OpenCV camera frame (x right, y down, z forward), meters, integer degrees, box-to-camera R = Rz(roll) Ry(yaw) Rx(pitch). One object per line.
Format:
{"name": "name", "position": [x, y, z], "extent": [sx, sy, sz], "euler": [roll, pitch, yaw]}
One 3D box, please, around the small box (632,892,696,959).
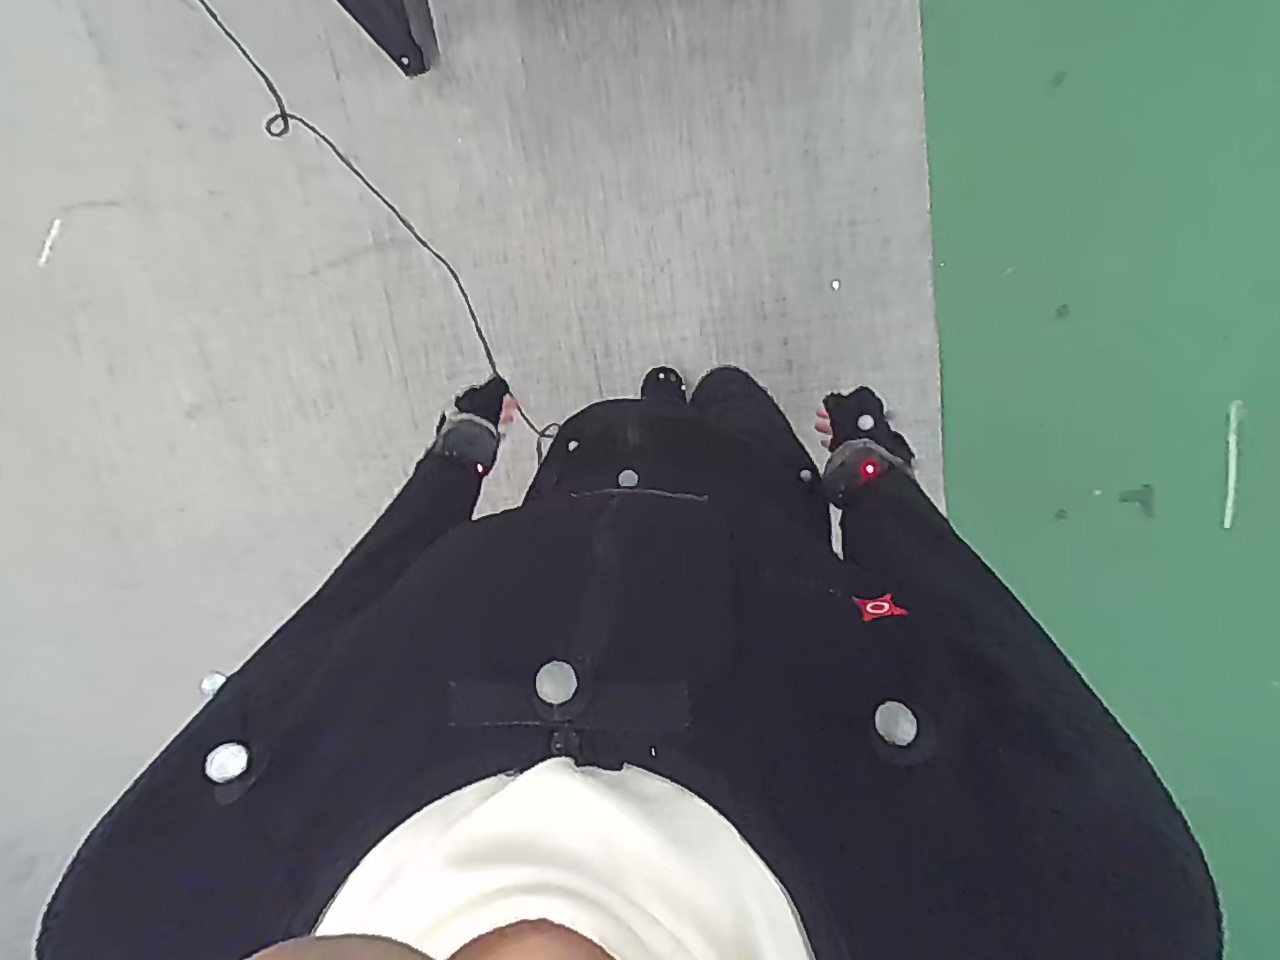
{"name": "small box", "position": [0.079, 1.408, 1.654], "extent": [0.179, 0.176, 0.168], "euler": [-8, 102, 5]}

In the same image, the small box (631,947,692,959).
{"name": "small box", "position": [0.059, 1.439, 1.494], "extent": [0.179, 0.176, 0.168], "euler": [-8, 102, 7]}
